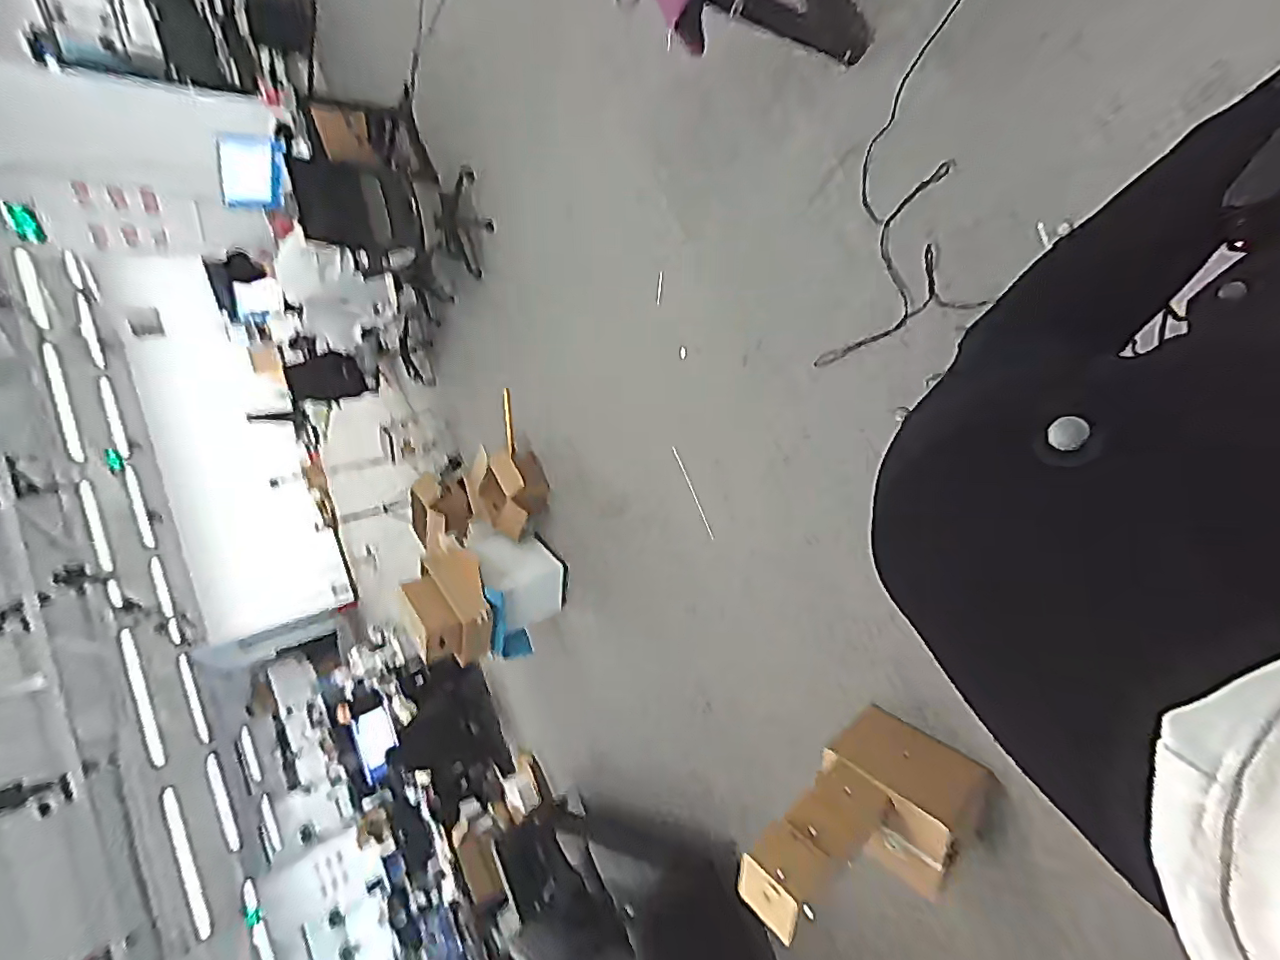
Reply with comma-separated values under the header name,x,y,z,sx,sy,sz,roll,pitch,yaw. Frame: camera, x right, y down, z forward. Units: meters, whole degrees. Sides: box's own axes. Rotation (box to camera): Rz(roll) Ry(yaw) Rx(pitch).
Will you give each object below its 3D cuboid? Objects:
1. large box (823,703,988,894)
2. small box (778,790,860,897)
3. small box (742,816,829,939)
name,x,y,z,sx,sy,sz,roll,pitch,yaw
large box,0.879,1.036,1.820,0.408,0.320,0.320,18,119,46
small box,0.522,1.063,1.605,0.179,0.176,0.168,22,120,44
small box,0.403,1.089,1.495,0.168,0.176,0.179,24,122,43
